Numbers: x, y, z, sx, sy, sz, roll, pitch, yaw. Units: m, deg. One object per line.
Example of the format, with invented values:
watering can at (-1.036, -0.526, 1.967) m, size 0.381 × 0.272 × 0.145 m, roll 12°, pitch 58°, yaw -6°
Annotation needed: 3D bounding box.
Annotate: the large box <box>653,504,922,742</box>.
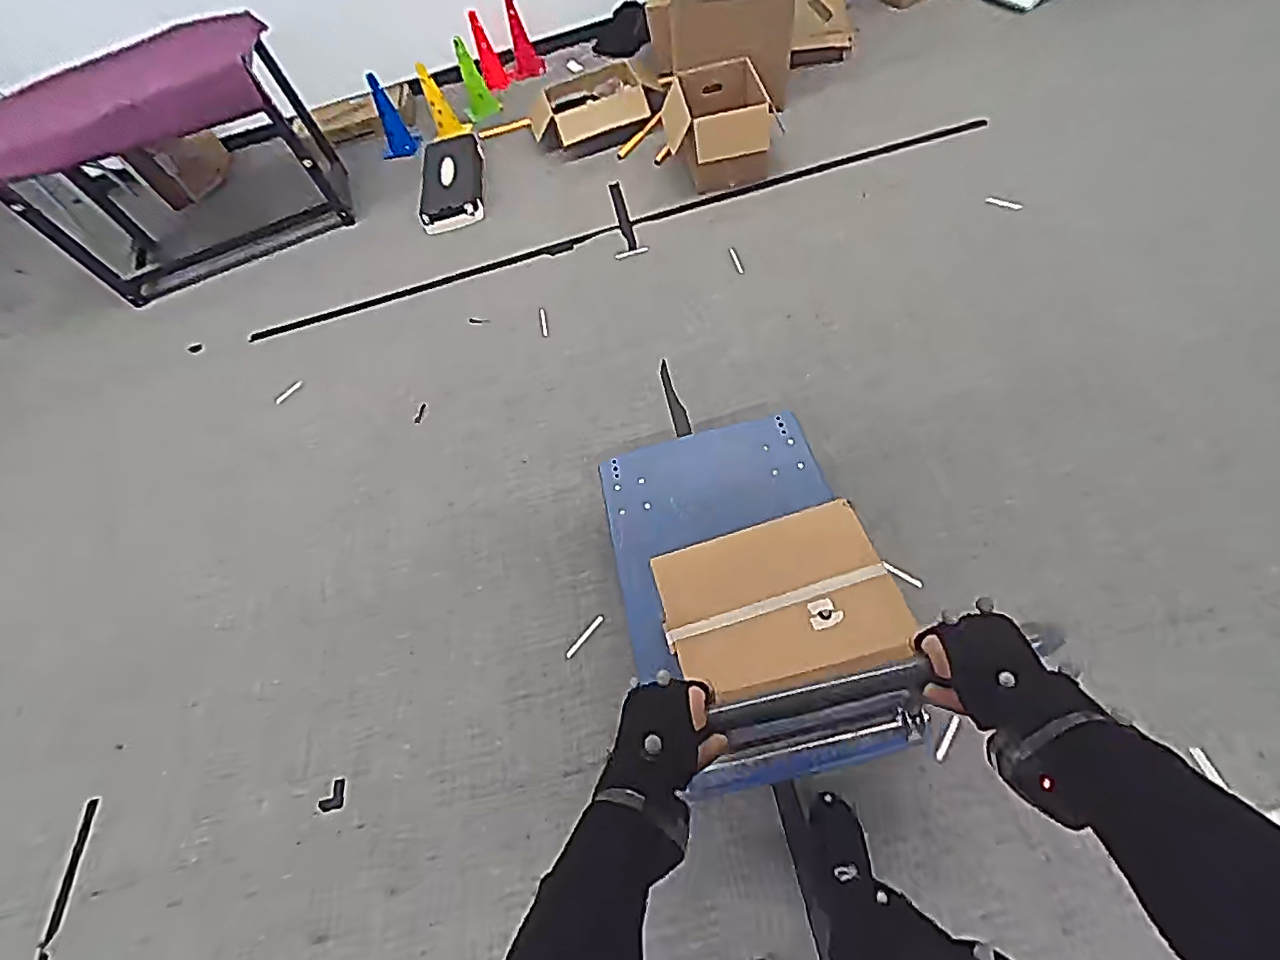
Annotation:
large box at (0.274, 0.305, 1.112) m, size 0.408 × 0.320 × 0.320 m, roll -17°, pitch 59°, yaw 0°
